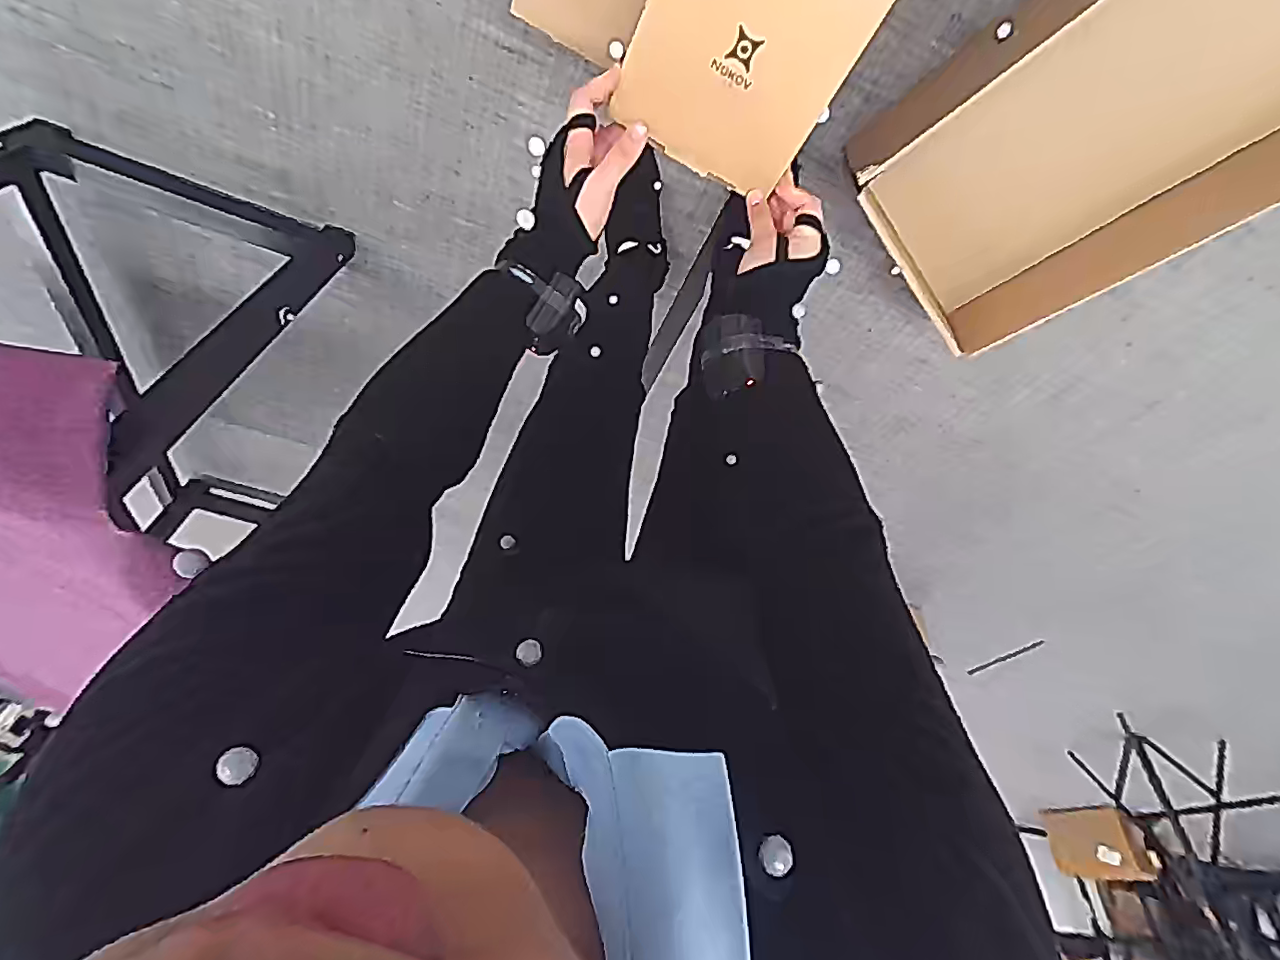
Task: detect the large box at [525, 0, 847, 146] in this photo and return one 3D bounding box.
[{"bbox_3d":[0.106,-0.676,0.568,0.320,0.320,0.408,21,138,-13],"label":"large box"}]
